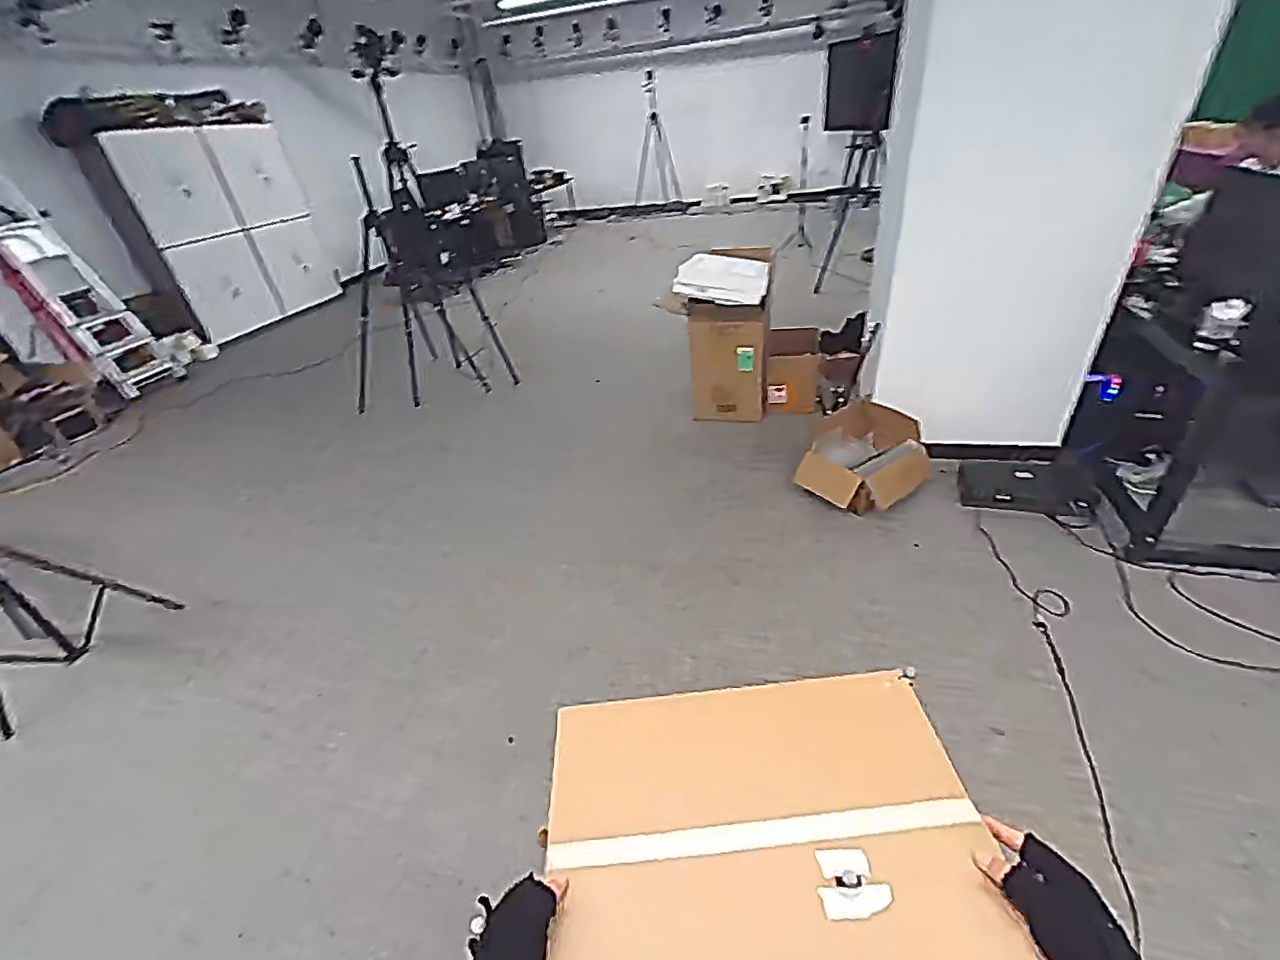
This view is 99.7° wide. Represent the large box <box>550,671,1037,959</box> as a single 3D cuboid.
[{"bbox_3d":[0.126,0.466,0.612,0.408,0.320,0.320,-7,36,0],"label":"large box"}]
